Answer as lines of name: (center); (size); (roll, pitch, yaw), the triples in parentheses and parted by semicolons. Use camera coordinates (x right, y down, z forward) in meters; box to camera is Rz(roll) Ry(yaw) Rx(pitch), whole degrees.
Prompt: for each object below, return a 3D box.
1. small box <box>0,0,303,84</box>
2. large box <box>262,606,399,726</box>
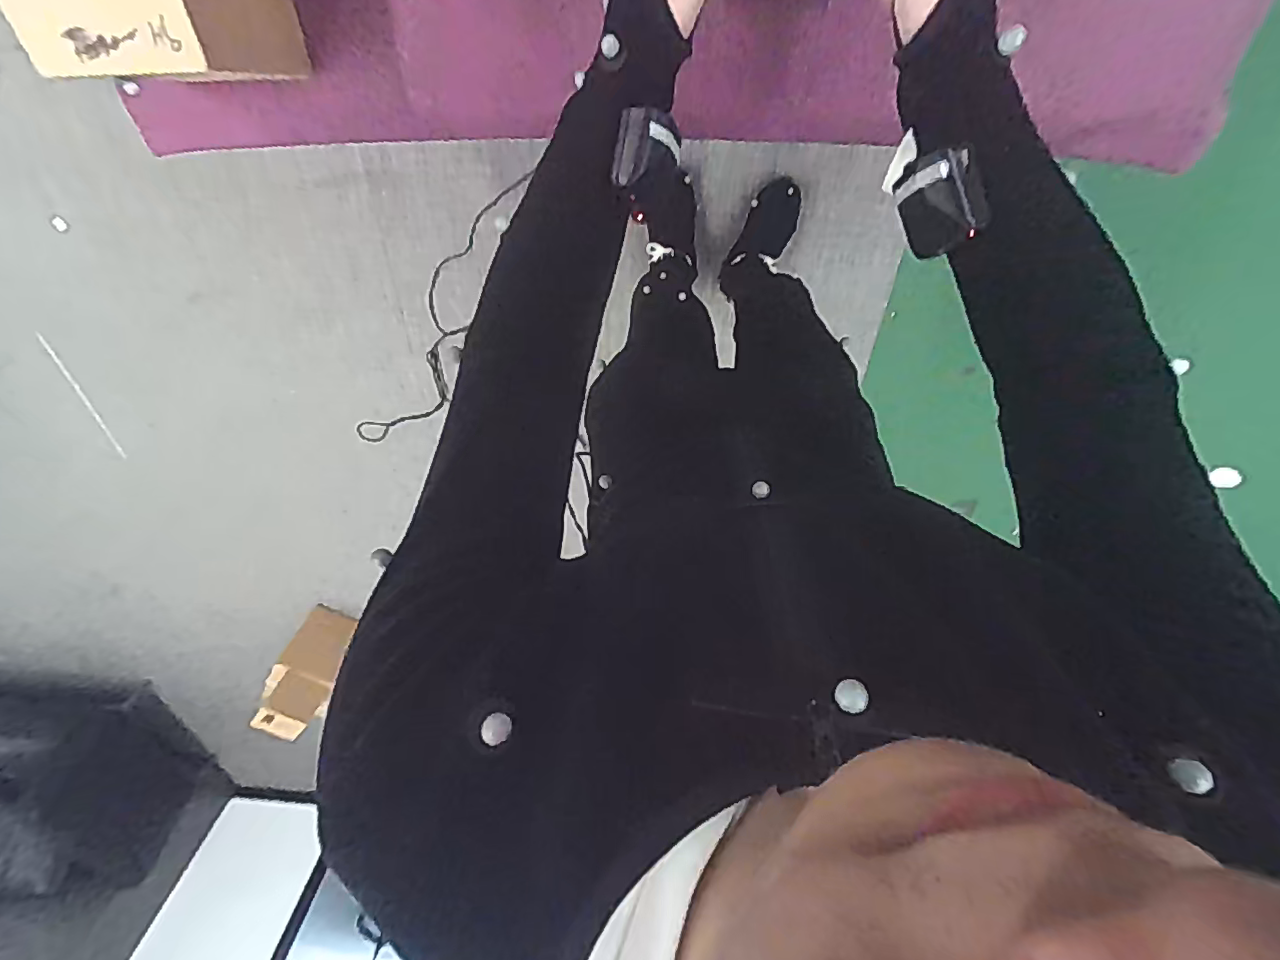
small box: (-0.453, -0.470, 0.489); (0.168, 0.176, 0.179); (2, 126, 4)
large box: (-1.363, 0.824, 2.400); (0.408, 0.320, 0.320); (29, 126, -17)
